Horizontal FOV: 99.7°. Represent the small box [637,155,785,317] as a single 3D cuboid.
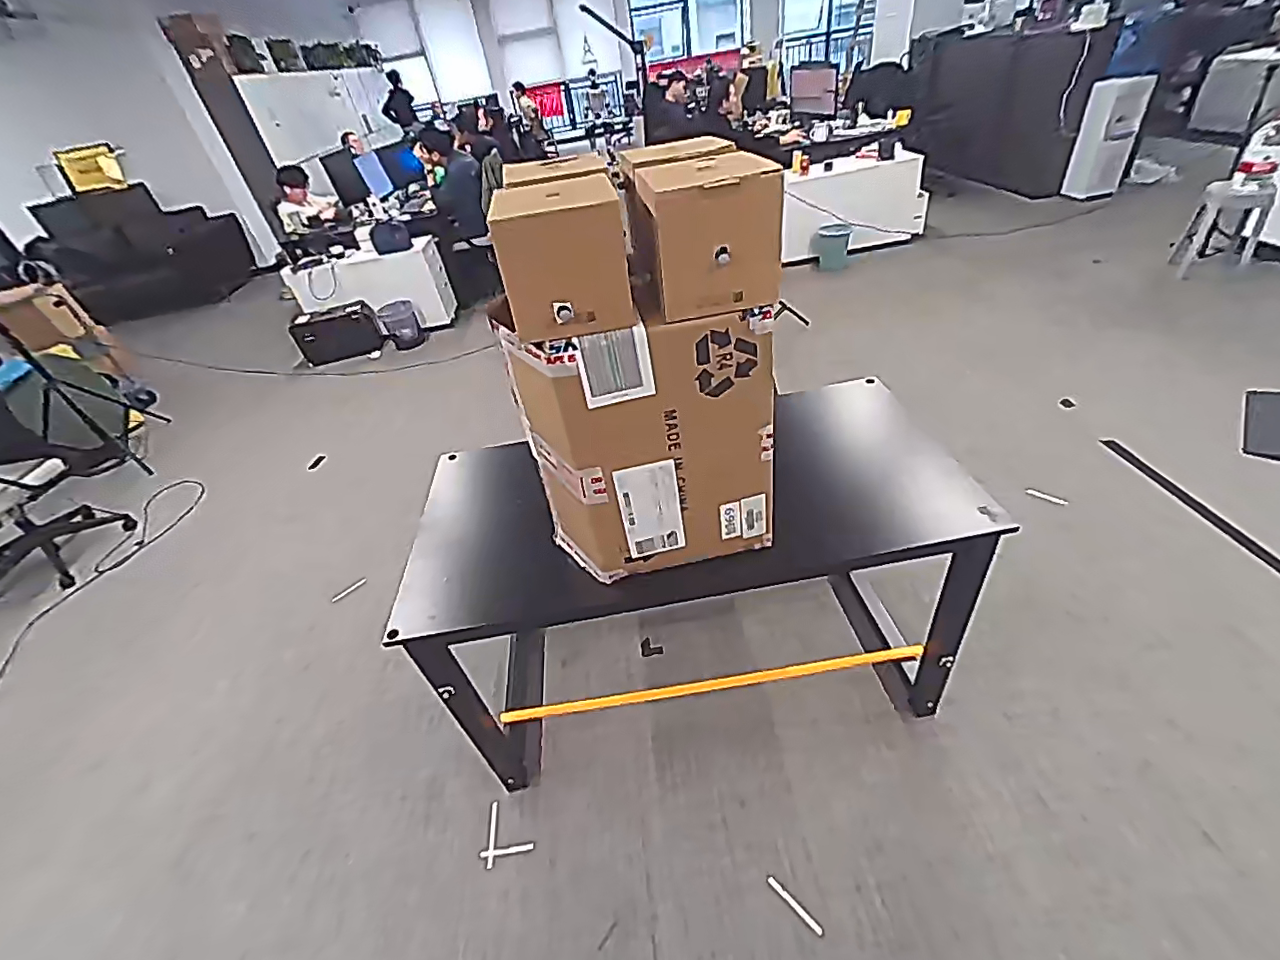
[{"bbox_3d":[0.095,-0.343,0.770,0.168,0.176,0.179,-10,39,-3],"label":"small box"}]
